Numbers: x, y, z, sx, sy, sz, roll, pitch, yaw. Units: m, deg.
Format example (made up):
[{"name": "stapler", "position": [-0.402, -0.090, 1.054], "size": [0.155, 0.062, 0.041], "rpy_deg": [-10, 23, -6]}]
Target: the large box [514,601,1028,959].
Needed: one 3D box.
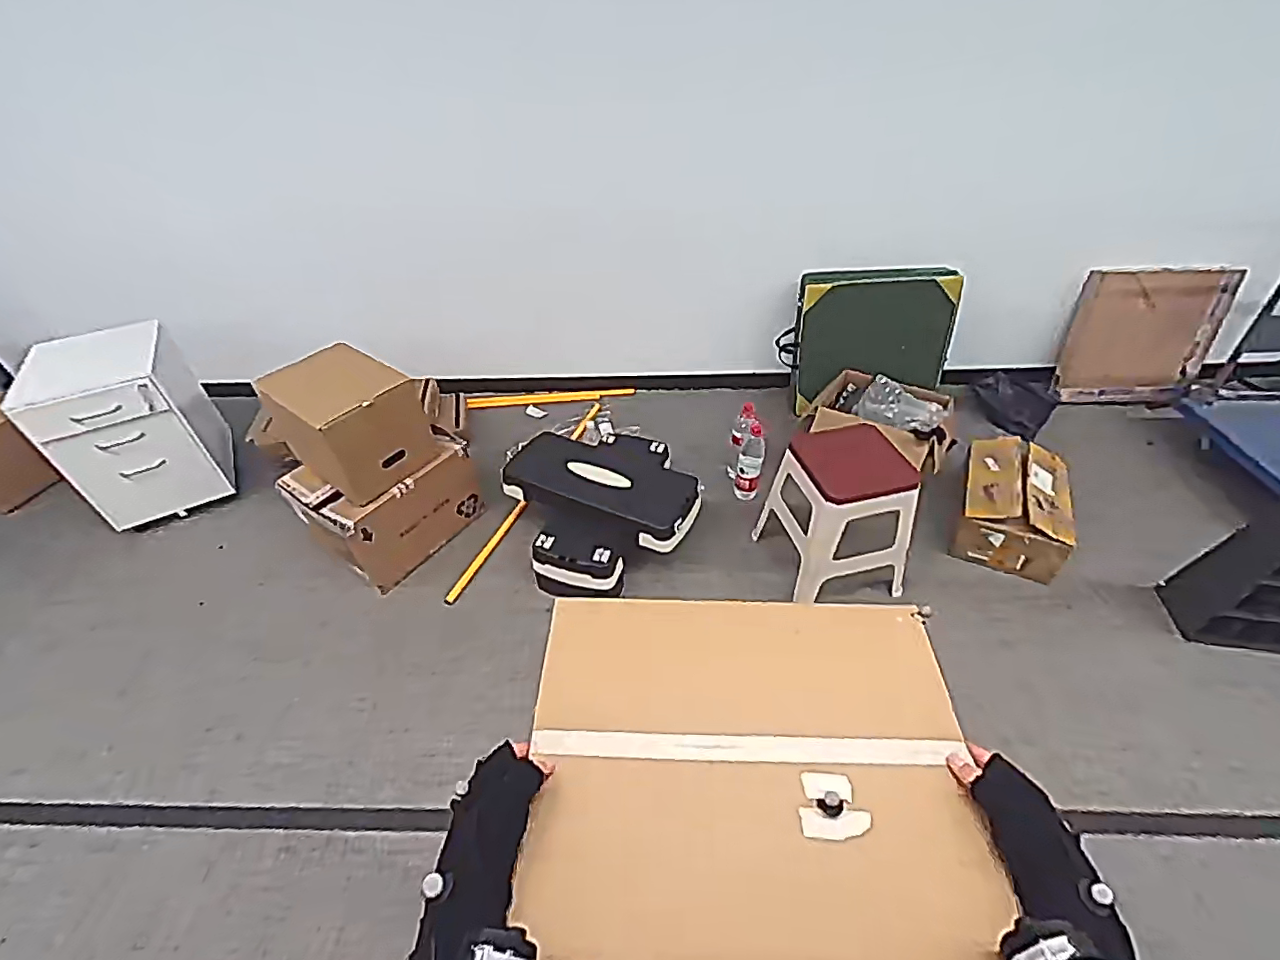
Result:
[{"name": "large box", "position": [0.102, 0.355, 0.621], "size": [0.408, 0.320, 0.320], "rpy_deg": [1, 46, 2]}]
